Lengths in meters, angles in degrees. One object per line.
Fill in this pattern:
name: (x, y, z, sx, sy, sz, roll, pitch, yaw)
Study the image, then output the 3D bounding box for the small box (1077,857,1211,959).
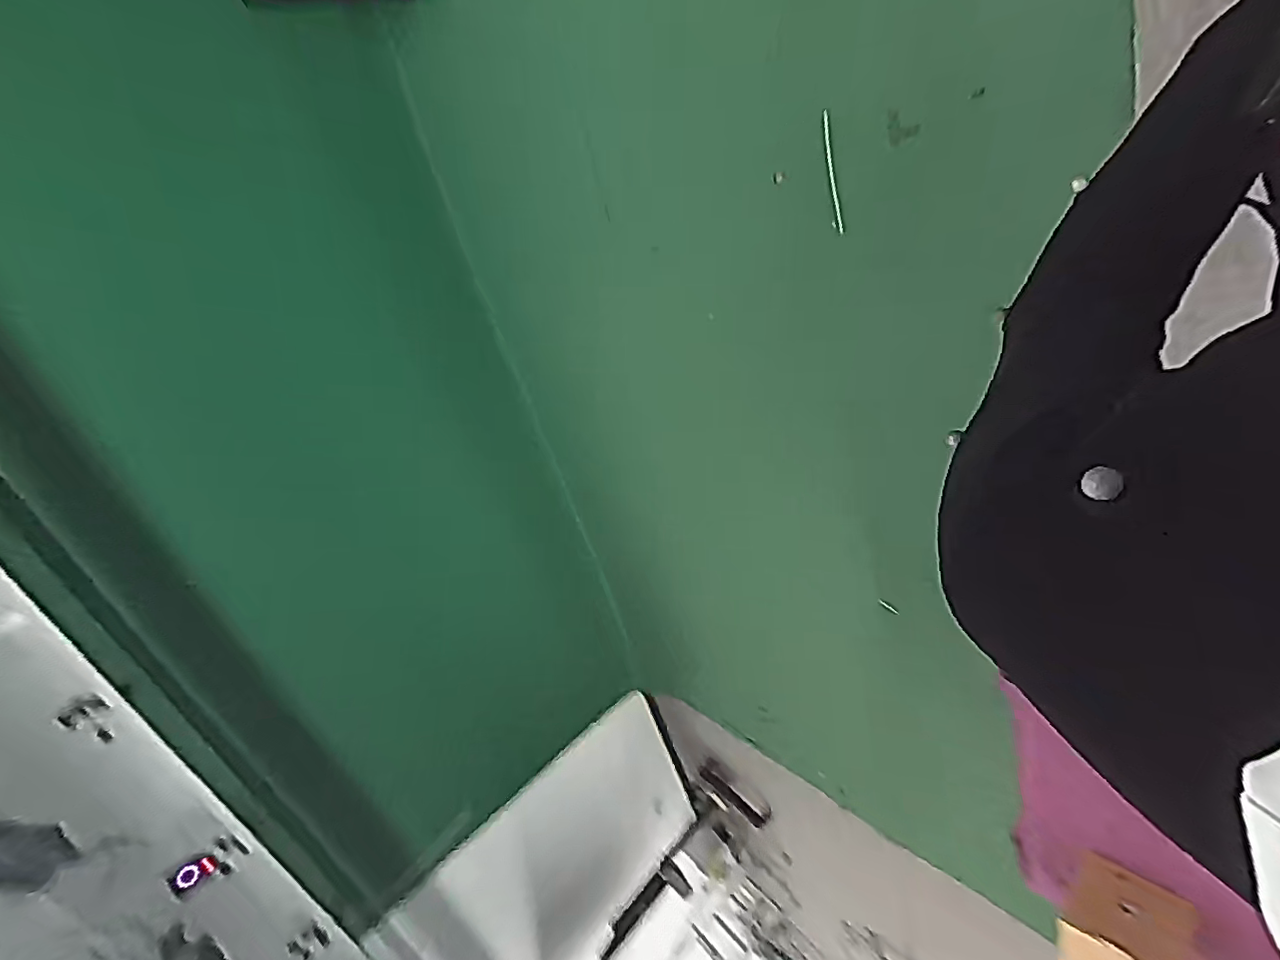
small box: (0.976, 0.893, 1.051, 0.168, 0.176, 0.179, 11, 126, 51)
